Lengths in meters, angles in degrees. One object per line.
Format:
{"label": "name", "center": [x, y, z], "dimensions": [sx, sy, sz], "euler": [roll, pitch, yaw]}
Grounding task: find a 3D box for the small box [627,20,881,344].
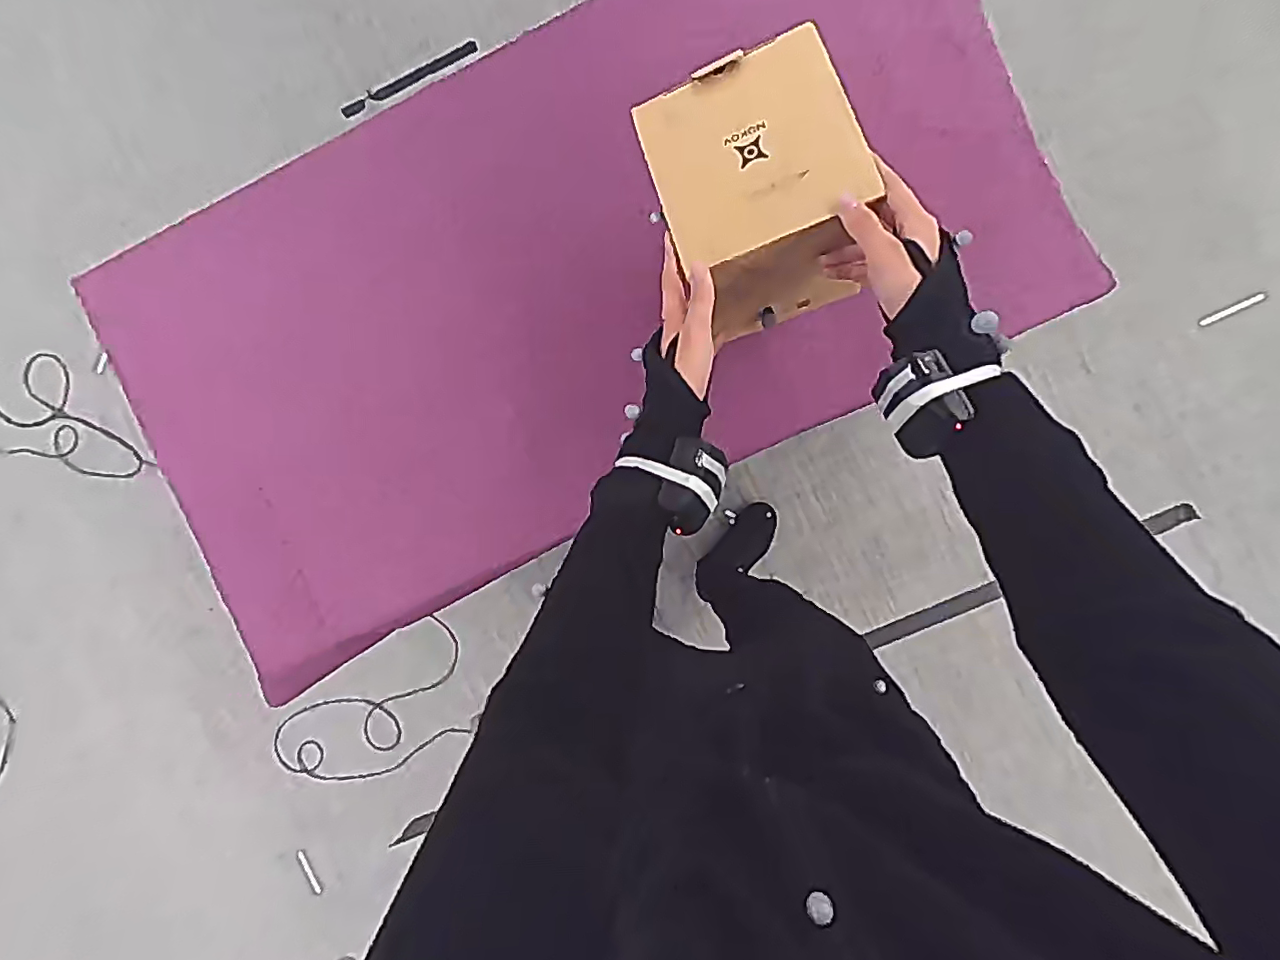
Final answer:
{"label": "small box", "center": [0.104, -0.260, 0.514], "dimensions": [0.168, 0.176, 0.179], "euler": [-18, 79, 12]}
